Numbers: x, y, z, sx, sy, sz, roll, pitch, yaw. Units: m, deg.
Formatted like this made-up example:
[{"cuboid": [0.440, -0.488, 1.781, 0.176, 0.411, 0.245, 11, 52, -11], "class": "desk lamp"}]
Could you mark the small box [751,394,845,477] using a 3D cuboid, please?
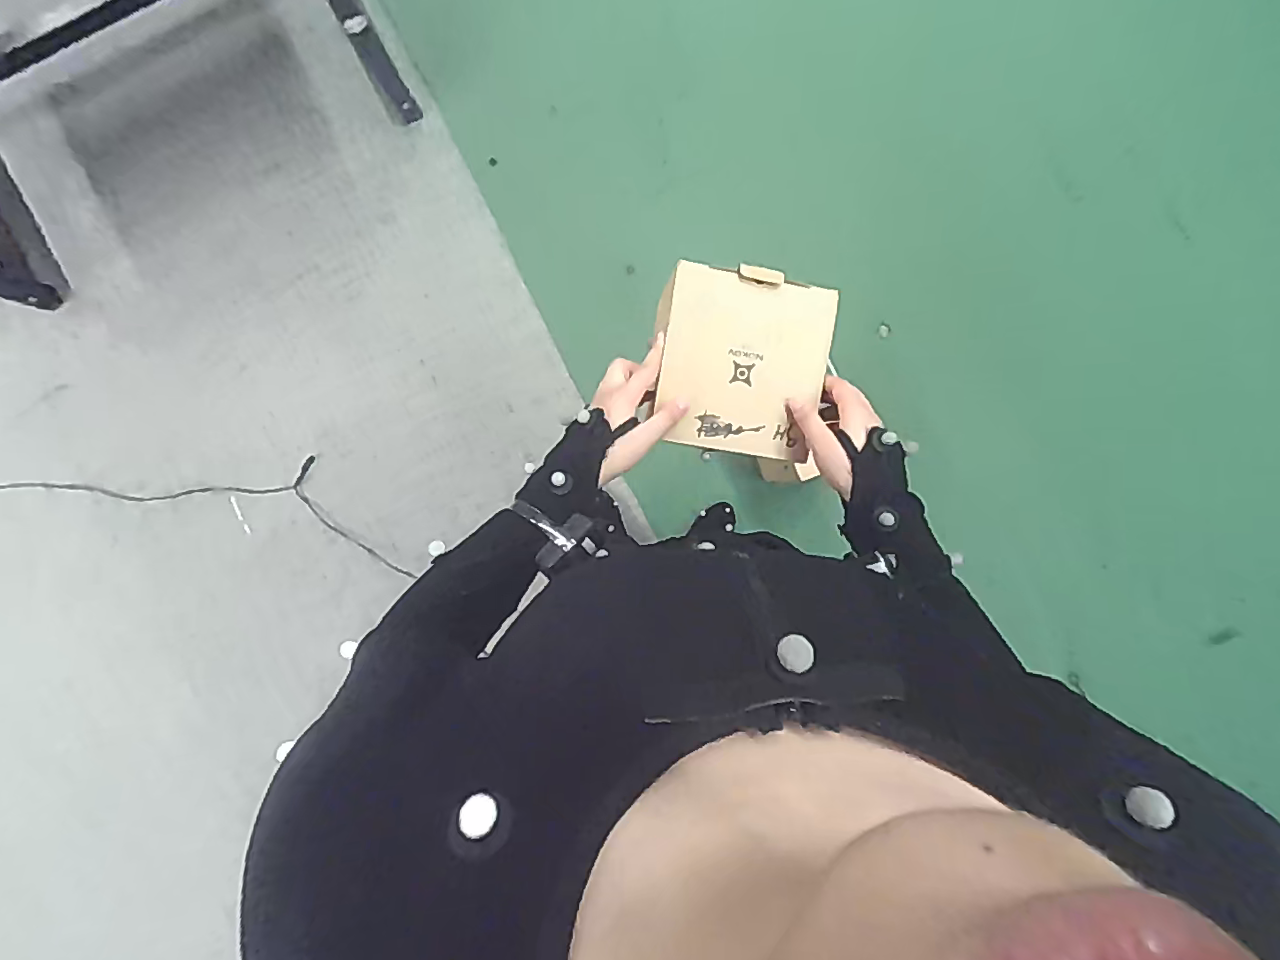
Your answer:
[{"cuboid": [0.400, -0.108, 1.410, 0.179, 0.176, 0.168, -19, 90, 0], "class": "small box"}]
